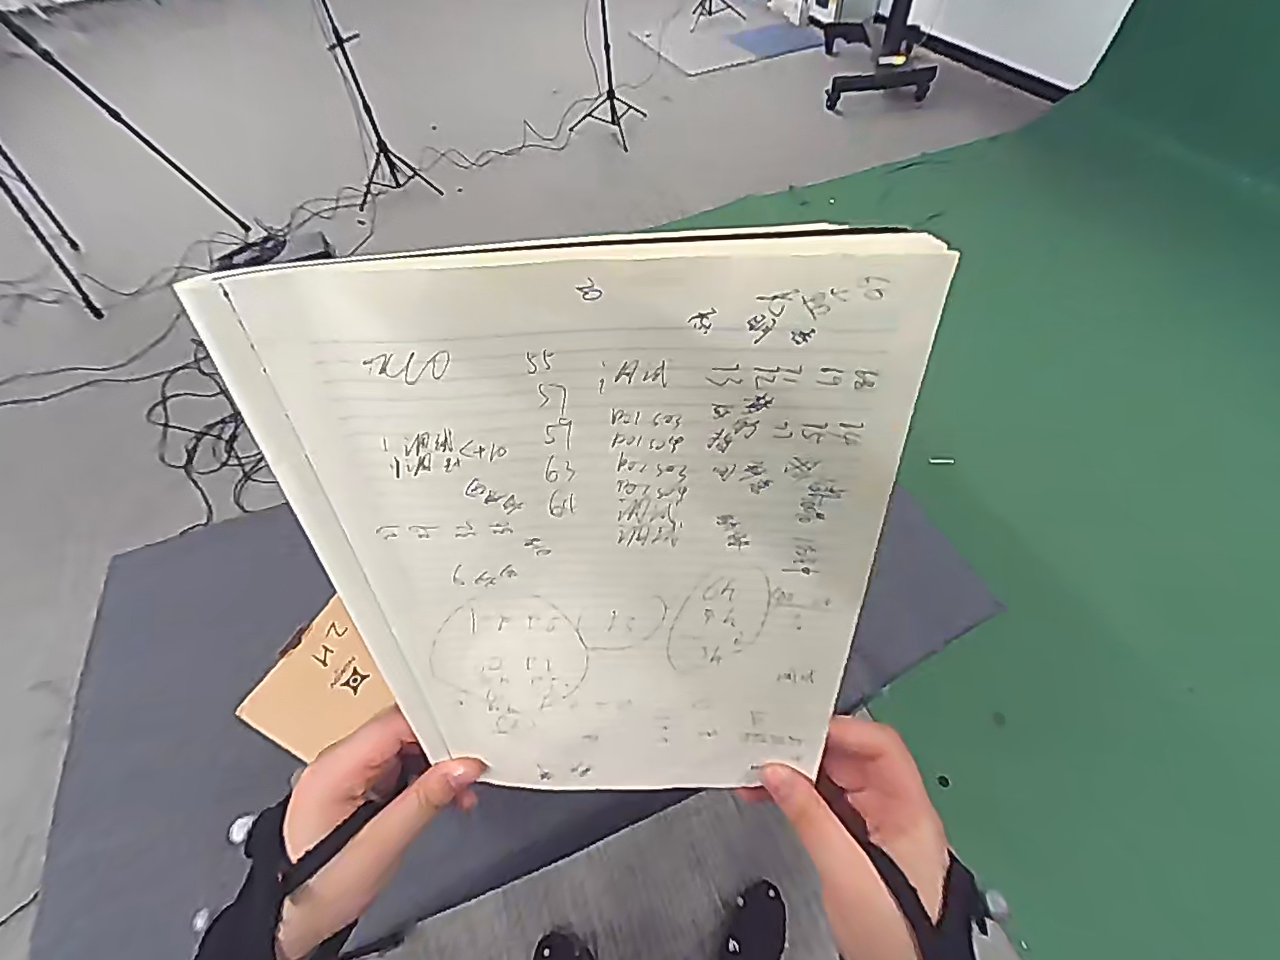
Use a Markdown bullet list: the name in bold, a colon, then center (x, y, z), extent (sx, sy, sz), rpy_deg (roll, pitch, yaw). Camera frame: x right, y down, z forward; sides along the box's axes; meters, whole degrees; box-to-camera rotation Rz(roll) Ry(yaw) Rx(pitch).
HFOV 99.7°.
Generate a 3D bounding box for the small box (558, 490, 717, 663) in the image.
- **small box**: center (0.007, 0.131, 0.710), extent (0.179, 0.176, 0.168), rpy_deg (3, 54, 7)

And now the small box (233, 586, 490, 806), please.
- **small box**: center (-0.305, 0.259, 0.637), extent (0.179, 0.176, 0.168), rpy_deg (20, 57, 18)
